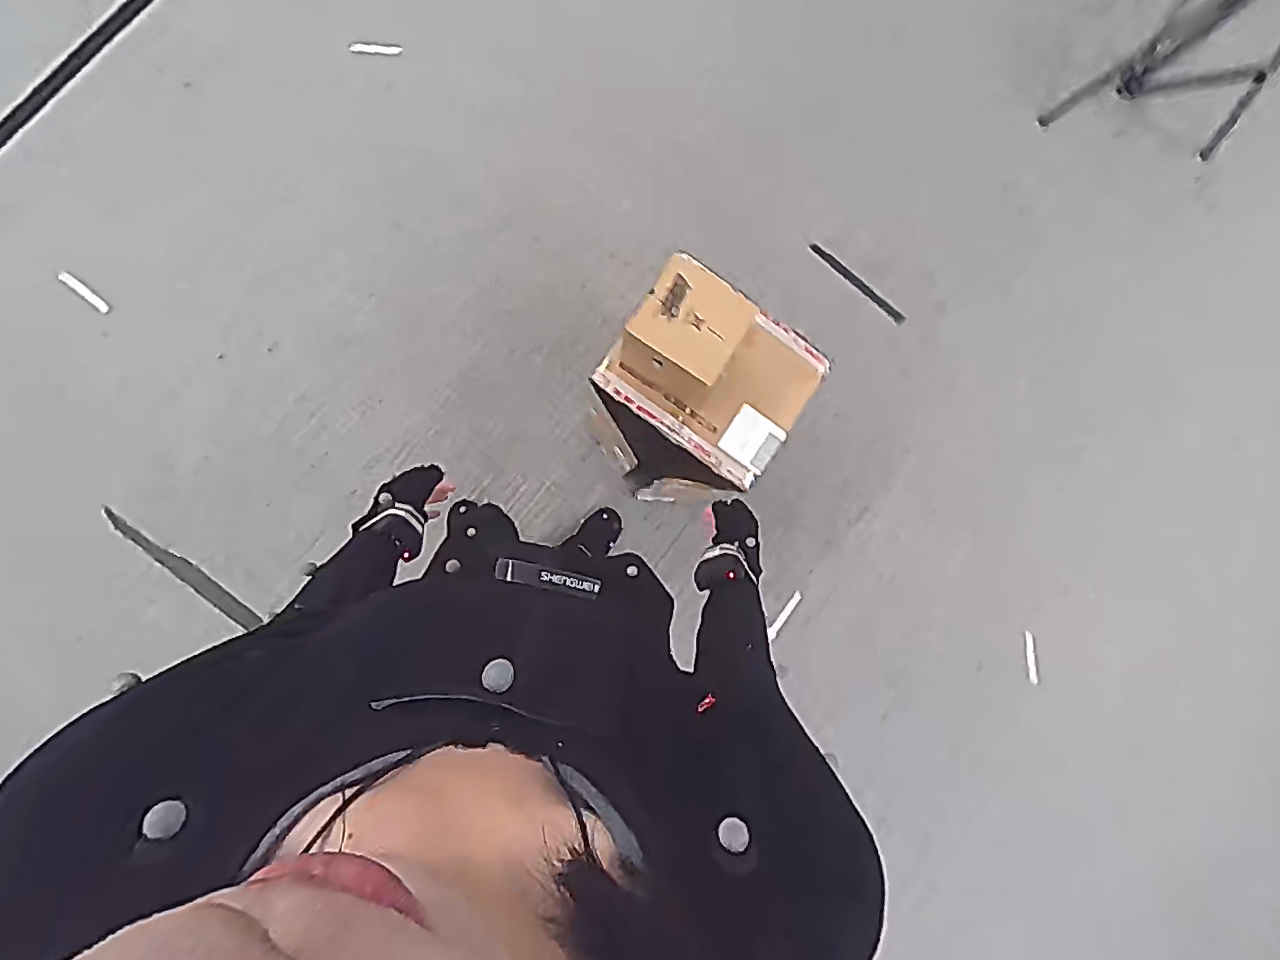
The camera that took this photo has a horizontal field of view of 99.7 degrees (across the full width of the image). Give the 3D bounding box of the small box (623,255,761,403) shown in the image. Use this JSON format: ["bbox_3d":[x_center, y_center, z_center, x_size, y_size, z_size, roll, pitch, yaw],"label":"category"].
[{"bbox_3d":[0.083,-0.261,0.984,0.179,0.176,0.168,33,83,-3],"label":"small box"}]
